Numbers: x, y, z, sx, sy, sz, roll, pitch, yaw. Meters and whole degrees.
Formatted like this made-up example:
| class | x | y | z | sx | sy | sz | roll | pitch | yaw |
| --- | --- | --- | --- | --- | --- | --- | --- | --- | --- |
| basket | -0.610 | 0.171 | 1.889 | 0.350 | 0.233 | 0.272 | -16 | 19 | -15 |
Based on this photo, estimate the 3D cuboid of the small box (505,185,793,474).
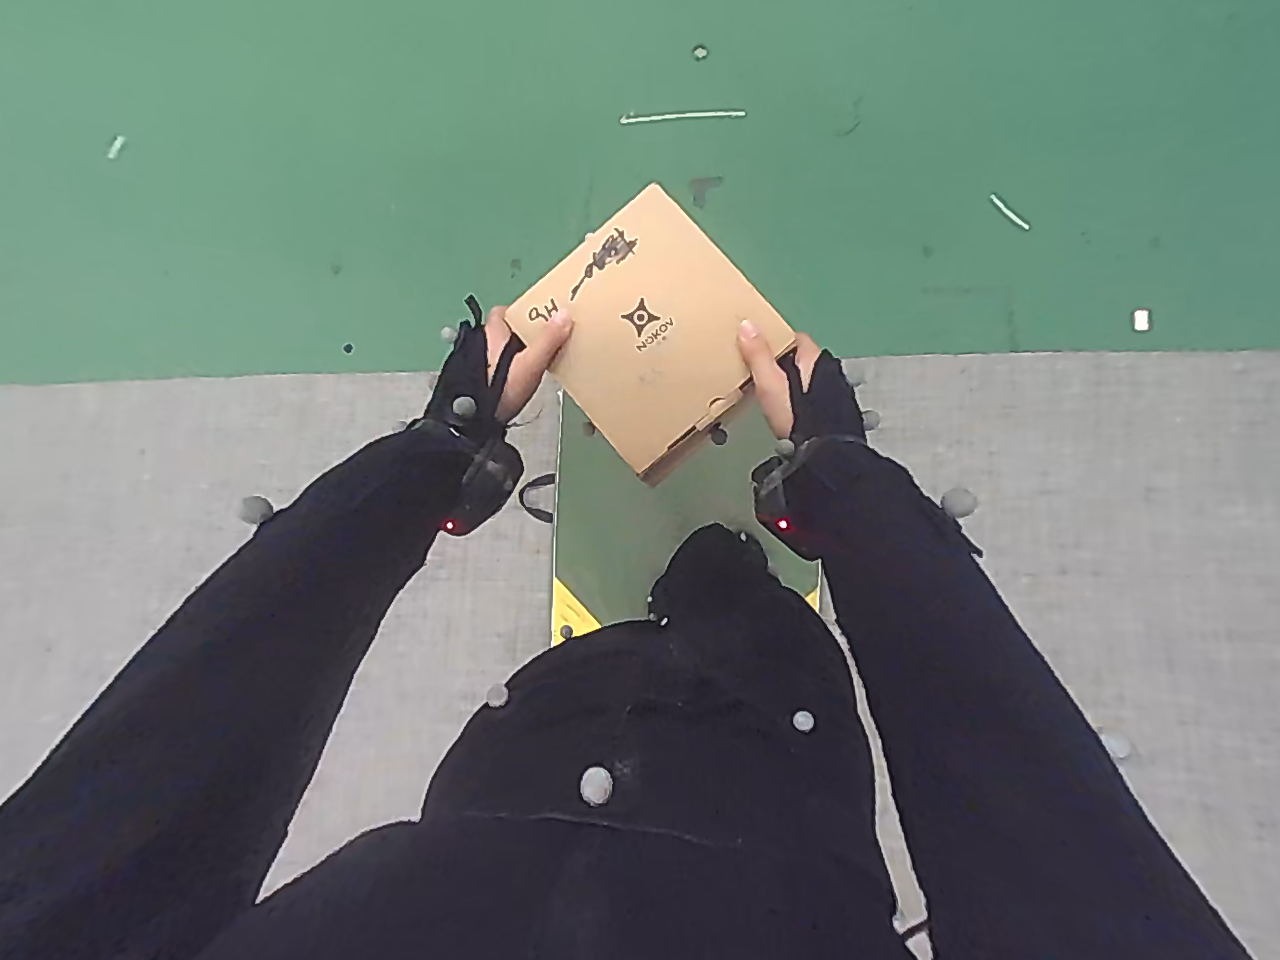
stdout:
| class | x | y | z | sx | sy | sz | roll | pitch | yaw |
| --- | --- | --- | --- | --- | --- | --- | --- | --- | --- |
| small box | 0.011 | -0.119 | 0.509 | 0.168 | 0.176 | 0.179 | -41 | 85 | 0 |
